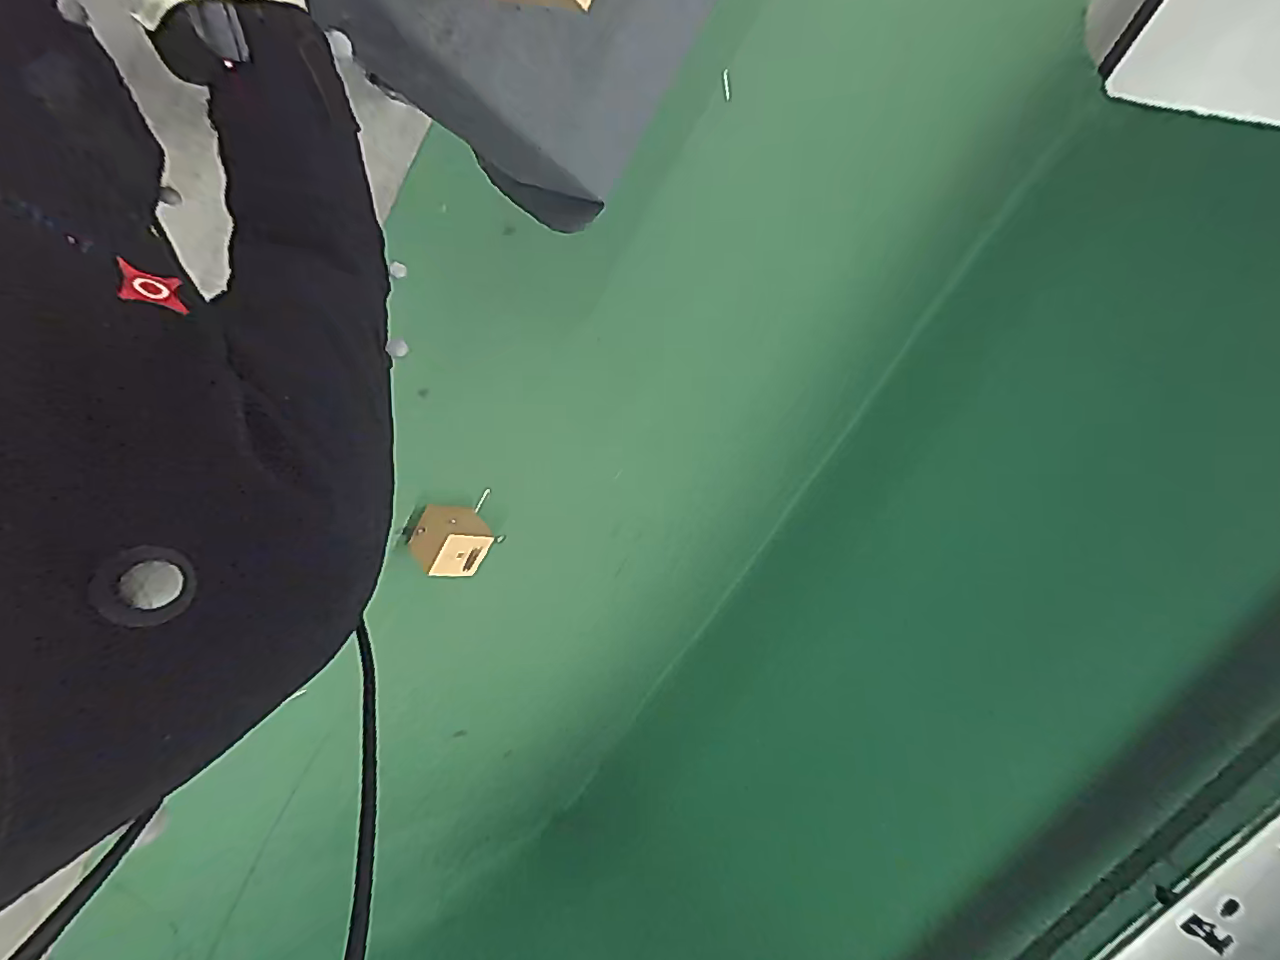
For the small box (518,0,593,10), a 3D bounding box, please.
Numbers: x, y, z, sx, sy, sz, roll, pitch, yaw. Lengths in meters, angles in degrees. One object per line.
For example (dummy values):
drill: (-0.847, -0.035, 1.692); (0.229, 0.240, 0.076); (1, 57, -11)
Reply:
small box: (-0.105, -0.490, 0.382); (0.168, 0.176, 0.179); (4, 121, -50)
